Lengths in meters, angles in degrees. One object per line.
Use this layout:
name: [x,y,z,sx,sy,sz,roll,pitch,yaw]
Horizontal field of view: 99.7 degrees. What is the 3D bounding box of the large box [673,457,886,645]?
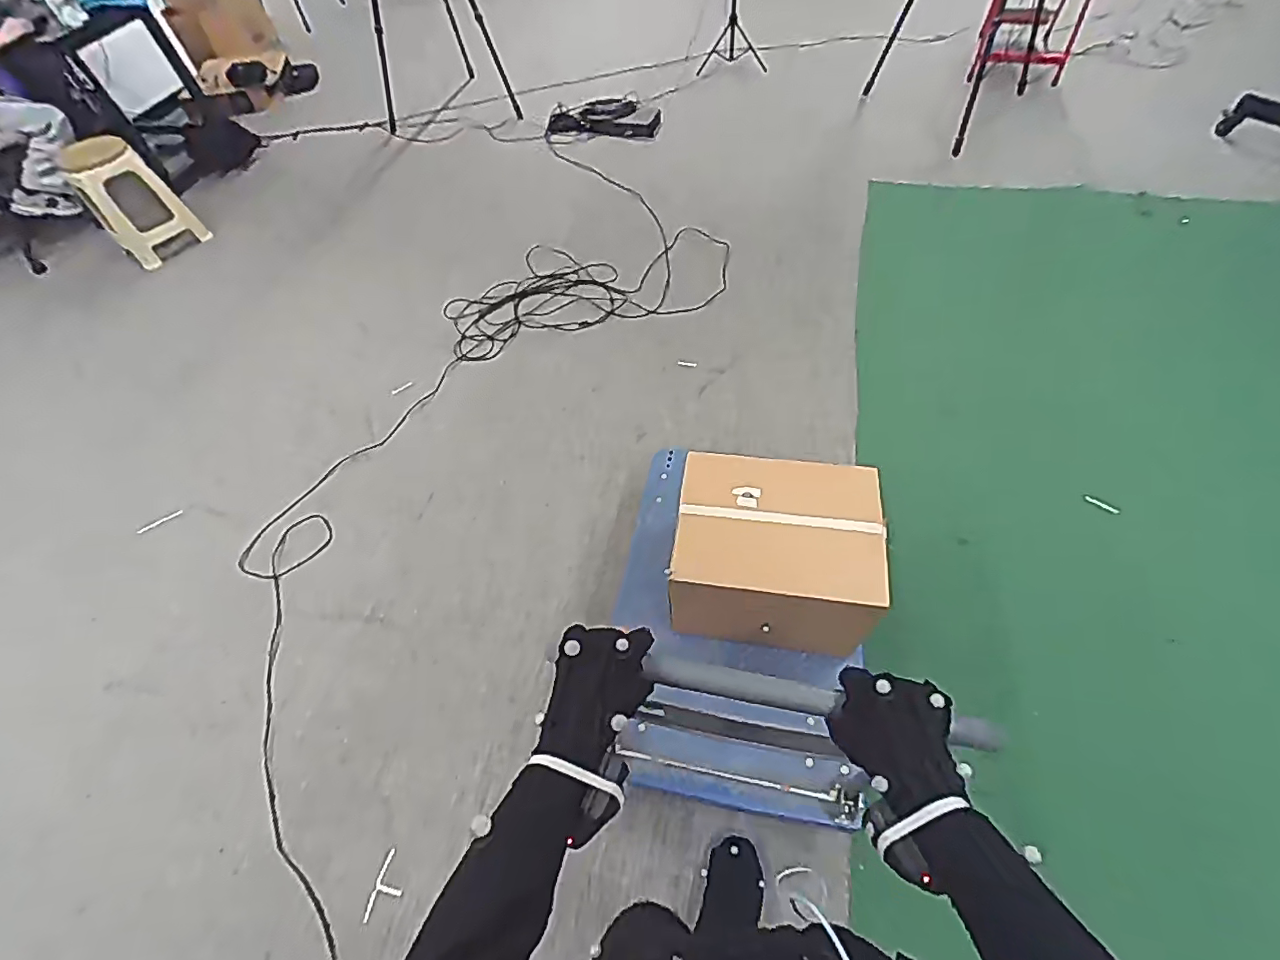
large box: [0.297,0.166,1.228,0.408,0.320,0.320,4,56,10]
